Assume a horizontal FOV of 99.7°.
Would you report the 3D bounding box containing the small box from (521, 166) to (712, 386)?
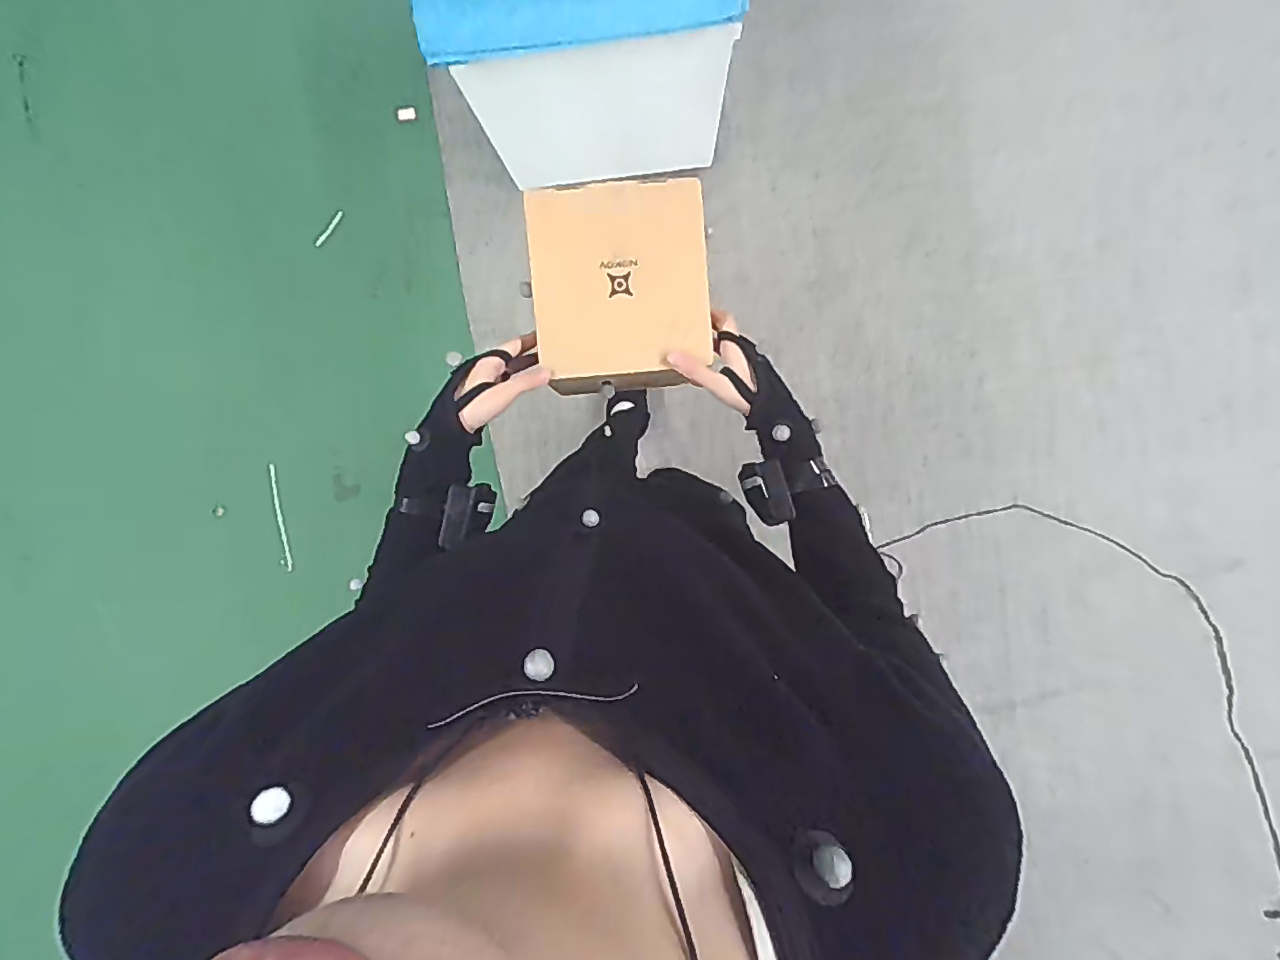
[{"bbox_3d":[-0.021,-0.196,0.570,0.168,0.176,0.179,-5,93,-2],"label":"small box"}]
